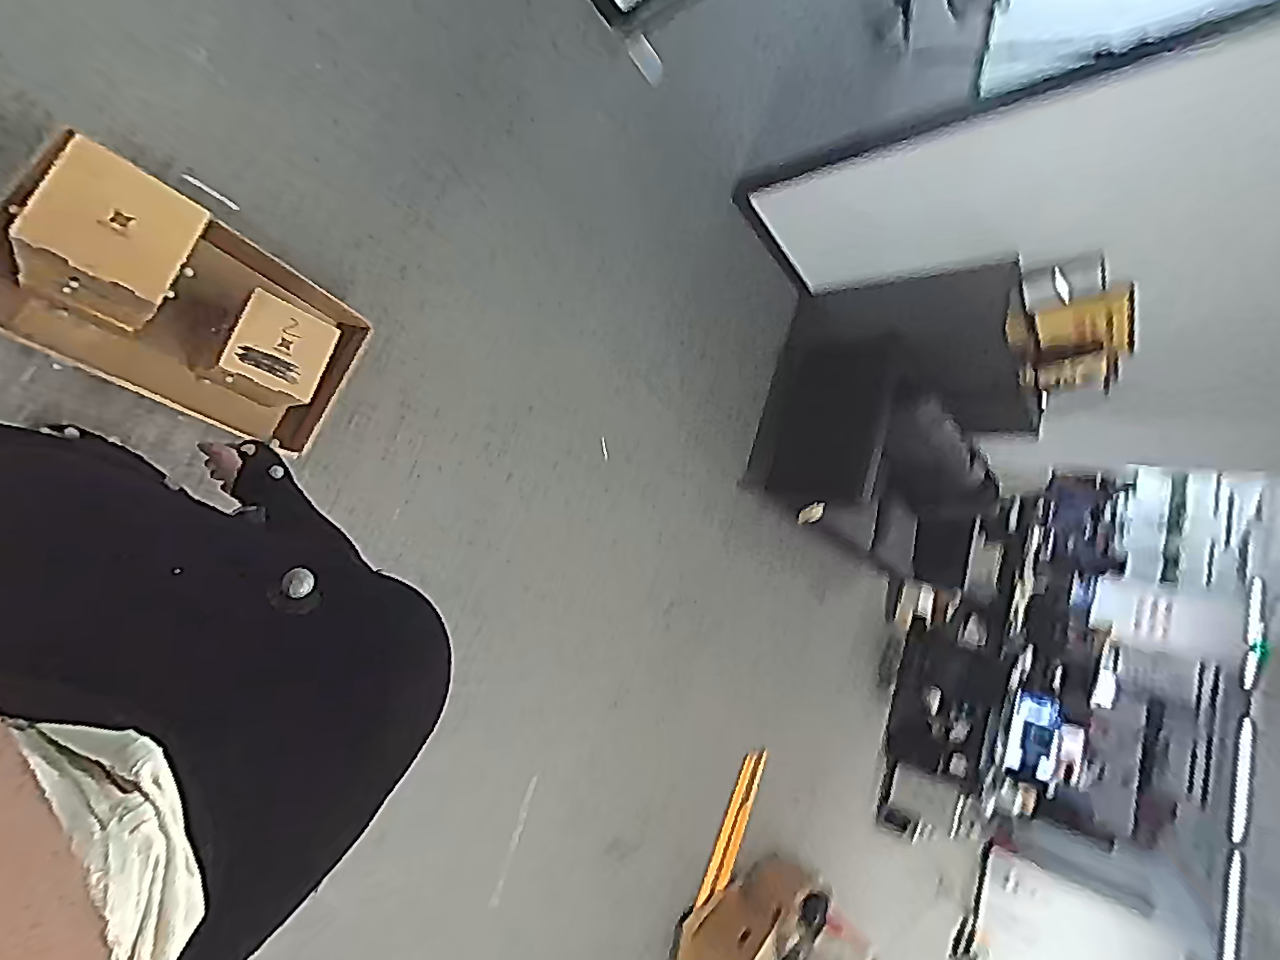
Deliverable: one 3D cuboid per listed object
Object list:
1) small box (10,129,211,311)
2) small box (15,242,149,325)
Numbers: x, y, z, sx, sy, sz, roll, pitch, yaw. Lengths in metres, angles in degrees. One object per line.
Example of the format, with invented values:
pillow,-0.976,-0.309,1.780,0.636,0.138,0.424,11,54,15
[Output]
small box,-0.818,-0.389,0.842,0.168,0.176,0.179,31,73,-44
small box,-0.936,-0.400,0.953,0.168,0.176,0.179,32,70,-42
